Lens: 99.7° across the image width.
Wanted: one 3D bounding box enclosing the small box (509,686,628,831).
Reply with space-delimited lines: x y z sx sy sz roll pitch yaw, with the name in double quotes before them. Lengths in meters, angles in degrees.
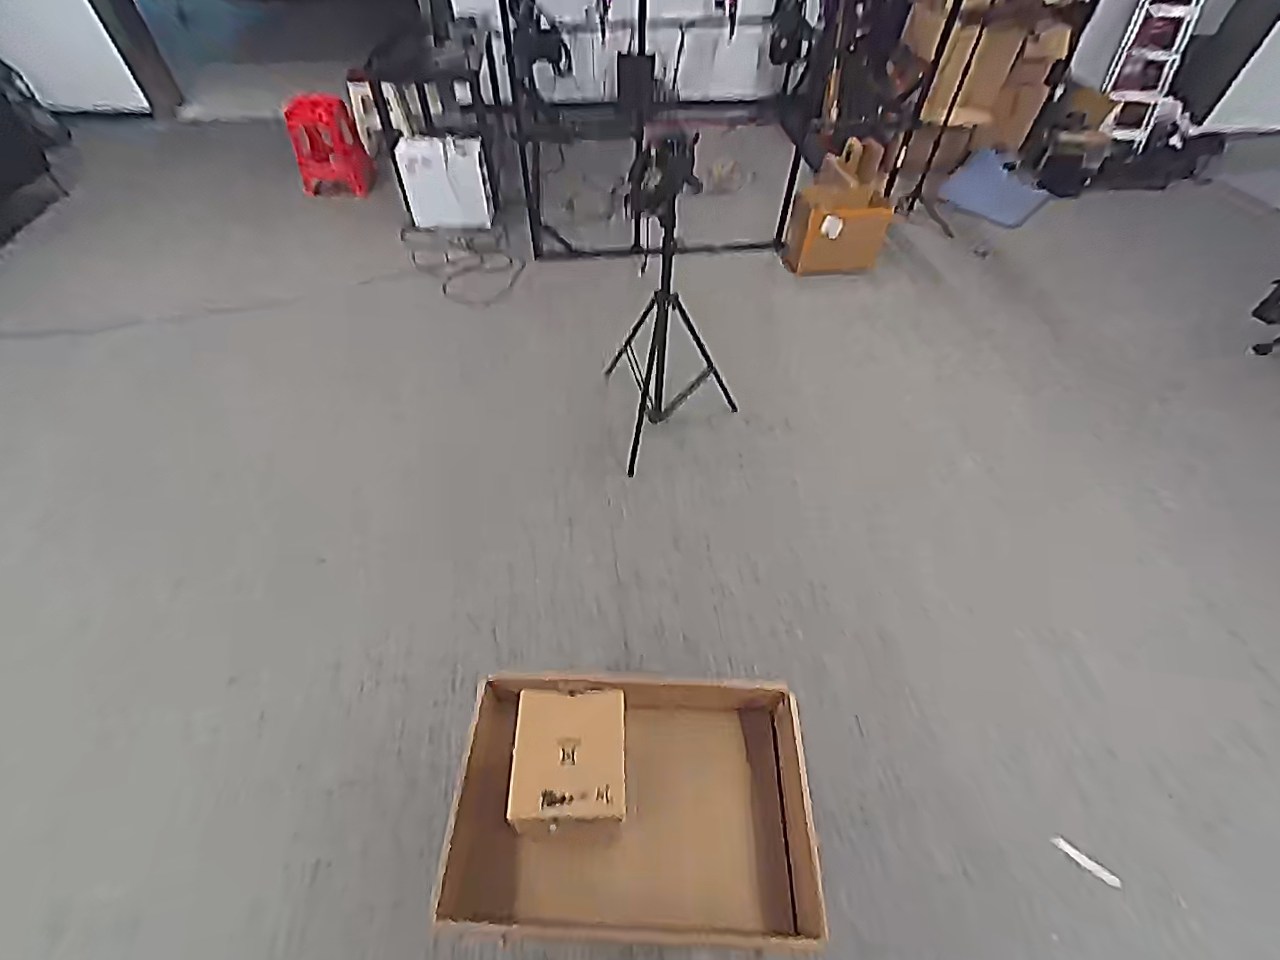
"small box" -0.106 0.447 0.866 0.168 0.176 0.179 1 50 -3
